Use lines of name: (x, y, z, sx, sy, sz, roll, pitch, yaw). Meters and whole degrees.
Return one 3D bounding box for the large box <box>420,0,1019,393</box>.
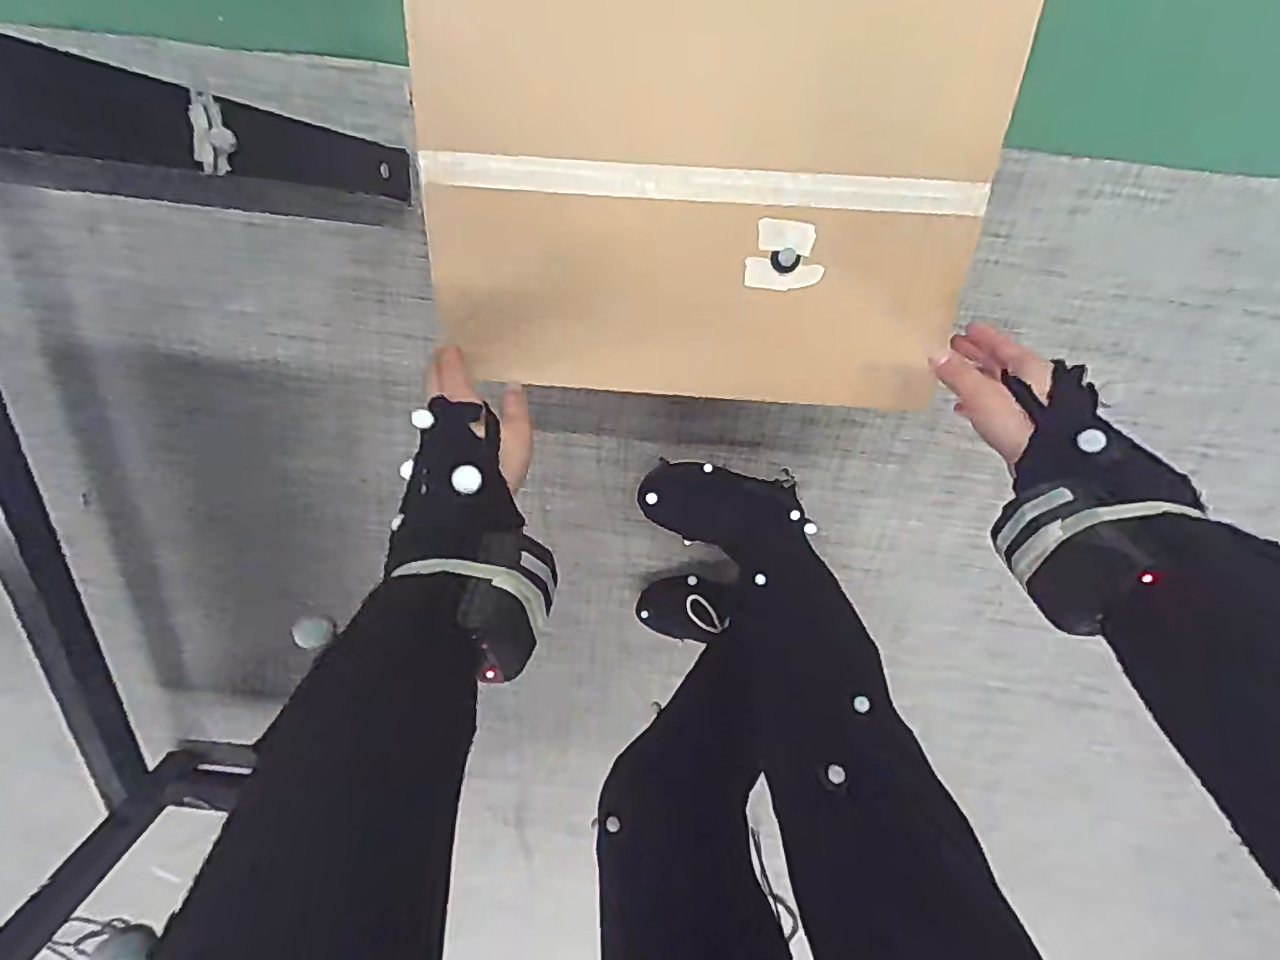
large box: (0.049, -0.281, 0.536, 0.408, 0.320, 0.320, 3, 115, 1)
